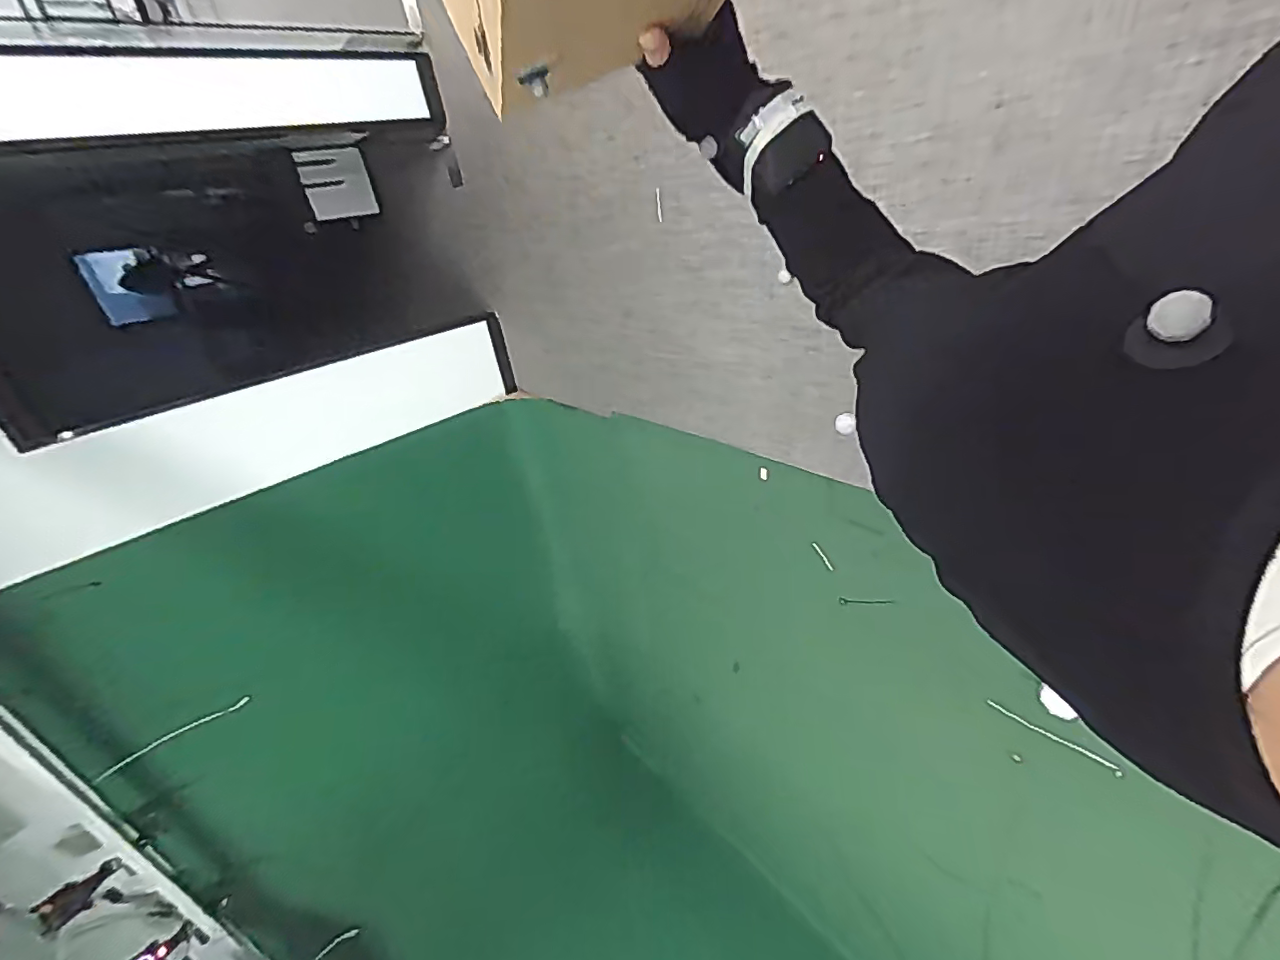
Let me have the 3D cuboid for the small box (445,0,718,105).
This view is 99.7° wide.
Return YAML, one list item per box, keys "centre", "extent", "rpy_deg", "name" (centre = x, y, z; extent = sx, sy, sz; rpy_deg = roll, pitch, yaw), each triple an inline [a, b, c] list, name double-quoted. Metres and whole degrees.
- centre: [-0.042, -0.356, 0.296]
  extent: [0.179, 0.176, 0.168]
  rpy_deg: [66, 173, -20]
  name: "small box"
